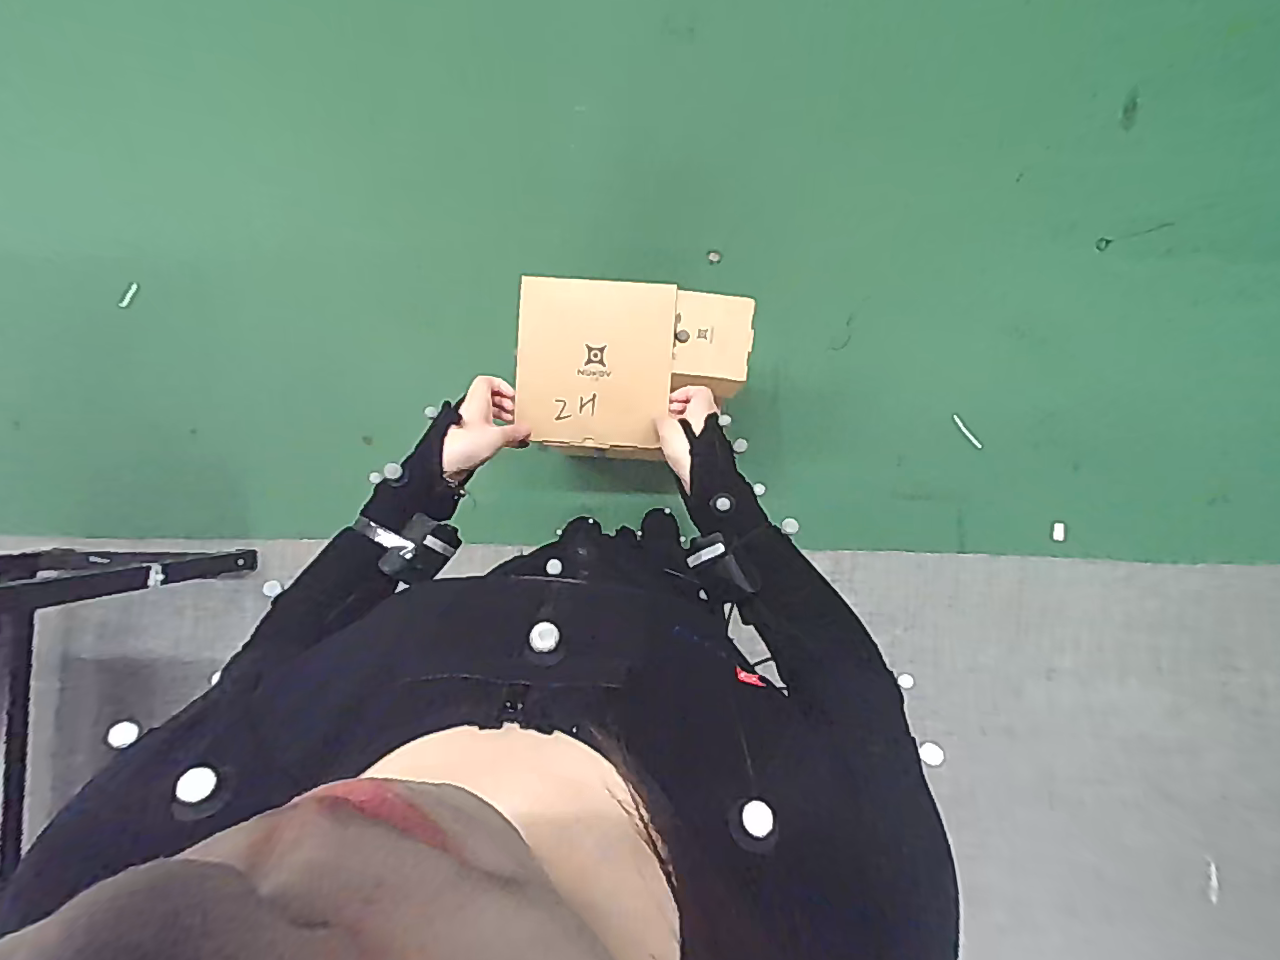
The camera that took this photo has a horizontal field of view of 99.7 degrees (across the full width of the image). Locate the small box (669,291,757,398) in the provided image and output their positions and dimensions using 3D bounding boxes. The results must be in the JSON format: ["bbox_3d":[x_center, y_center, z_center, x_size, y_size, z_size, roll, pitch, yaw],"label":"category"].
[{"bbox_3d":[0.129,-0.272,1.120,0.179,0.176,0.168,8,87,1],"label":"small box"}]

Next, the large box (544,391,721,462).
[{"bbox_3d":[-0.017,-0.215,1.363,0.408,0.320,0.320,3,89,-1],"label":"large box"}]

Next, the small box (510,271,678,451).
[{"bbox_3d":[-0.046,-0.127,0.638,0.168,0.176,0.179,4,94,2],"label":"small box"}]
